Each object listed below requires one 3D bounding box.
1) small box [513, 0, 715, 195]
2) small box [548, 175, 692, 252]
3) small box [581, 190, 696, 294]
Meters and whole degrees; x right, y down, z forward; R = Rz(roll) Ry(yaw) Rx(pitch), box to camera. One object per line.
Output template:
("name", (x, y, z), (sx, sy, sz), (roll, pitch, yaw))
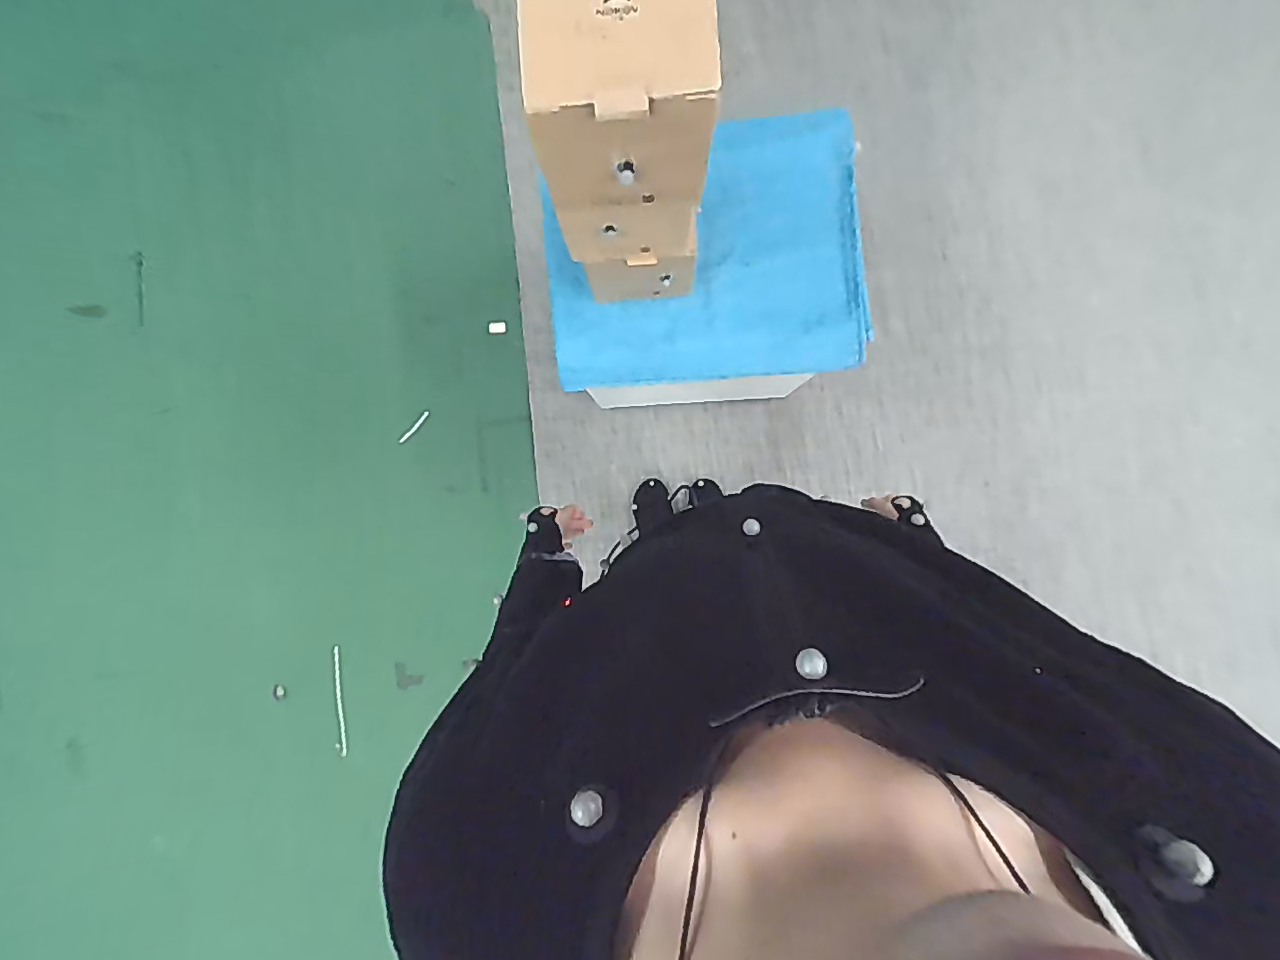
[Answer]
("small box", (-0.019, -0.394, 0.516), (0.168, 0.176, 0.179), (-2, 89, 1))
("small box", (-0.020, -0.402, 0.680), (0.168, 0.176, 0.179), (-2, 88, 1))
("small box", (-0.002, -0.401, 0.841), (0.168, 0.176, 0.179), (-4, 89, 1))
